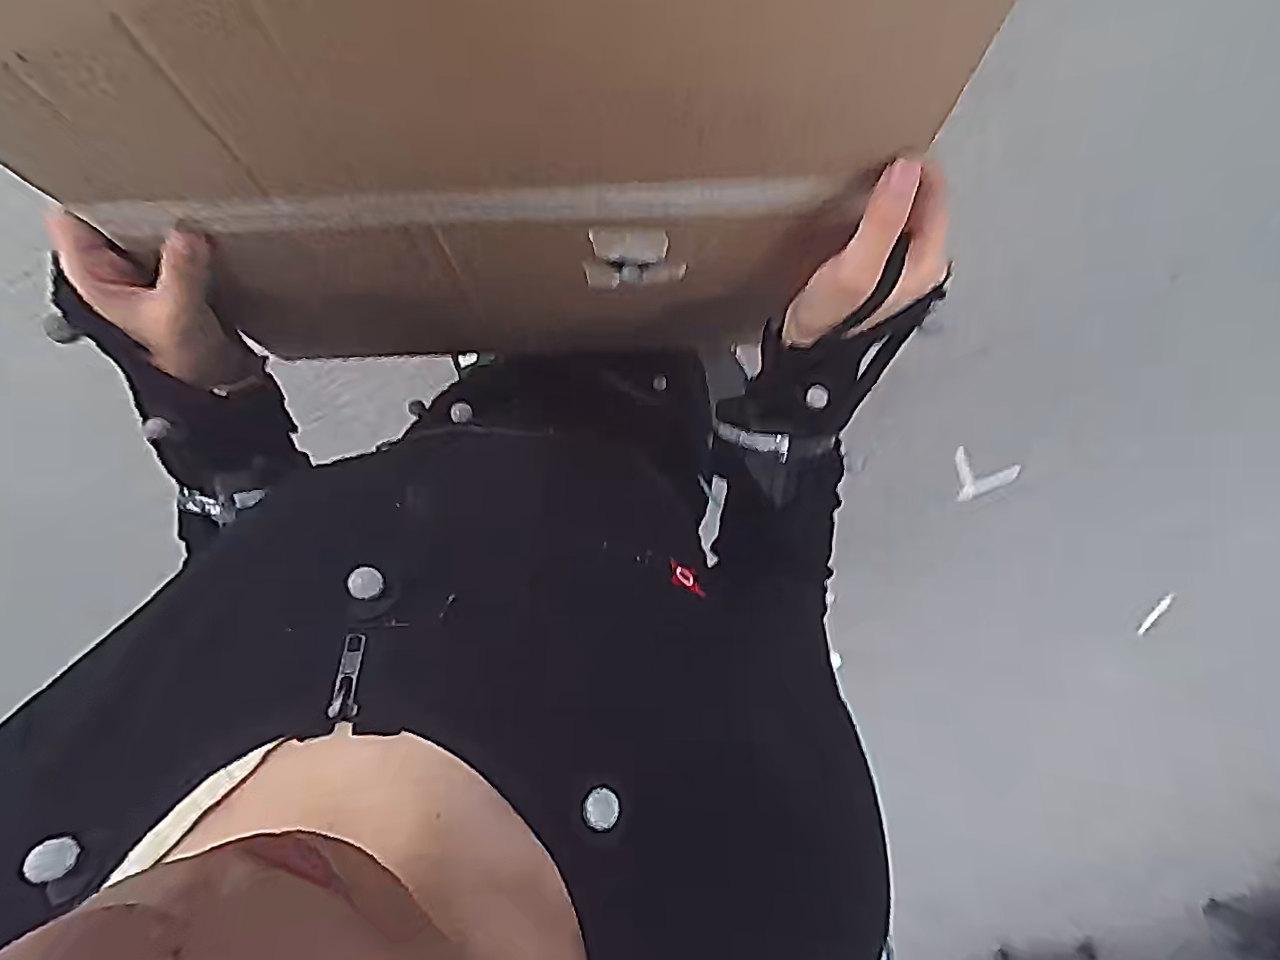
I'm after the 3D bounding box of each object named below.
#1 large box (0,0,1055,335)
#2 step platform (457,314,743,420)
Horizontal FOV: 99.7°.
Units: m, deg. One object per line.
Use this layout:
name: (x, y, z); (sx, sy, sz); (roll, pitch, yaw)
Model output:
large box: (-0.060, -0.295, 0.275); (0.408, 0.320, 0.320); (-2, 76, 0)
step platform: (-0.095, -0.384, 1.342); (0.684, 0.204, 0.286); (-18, 112, 8)
